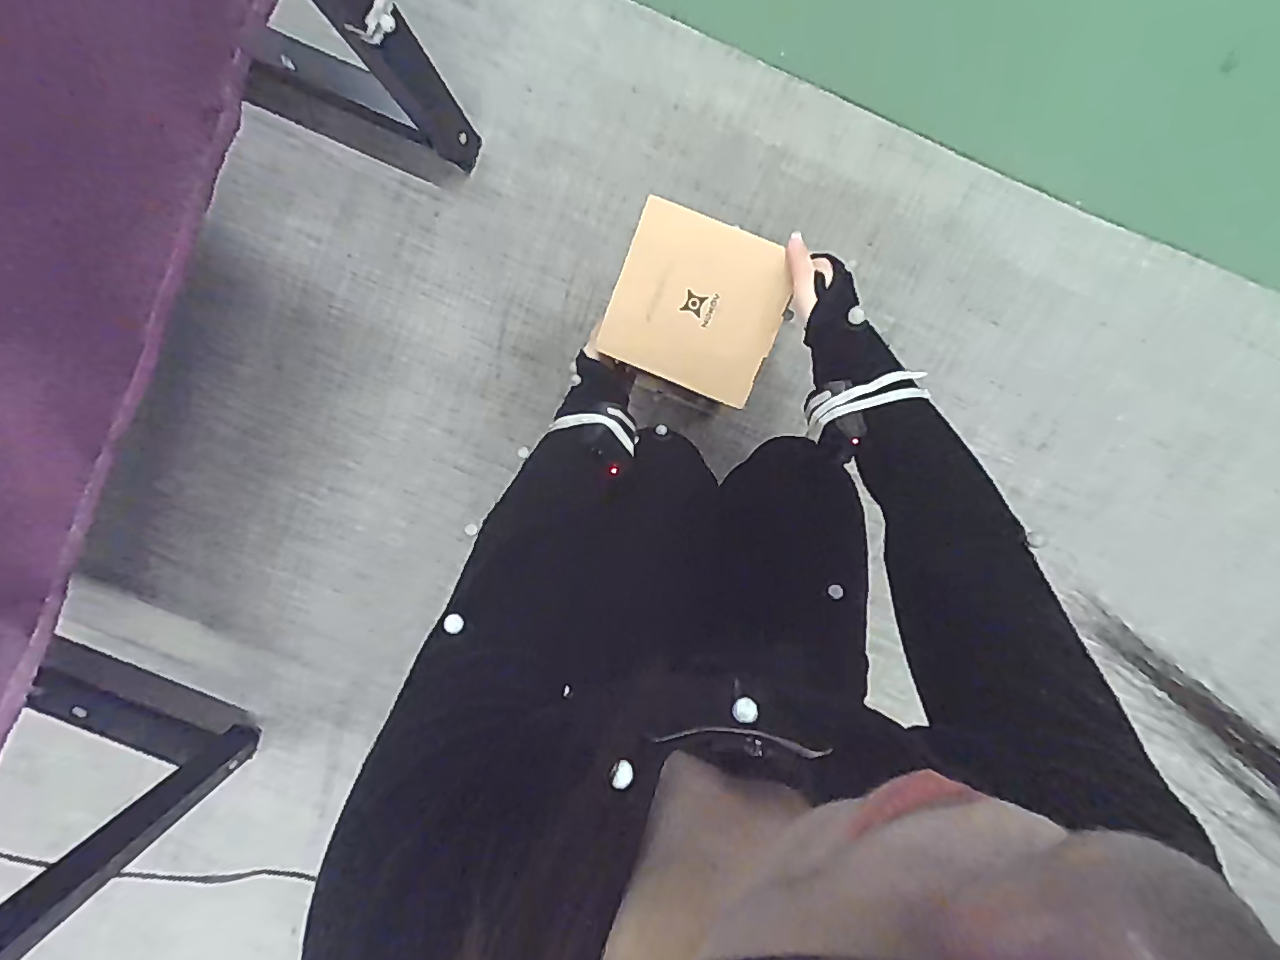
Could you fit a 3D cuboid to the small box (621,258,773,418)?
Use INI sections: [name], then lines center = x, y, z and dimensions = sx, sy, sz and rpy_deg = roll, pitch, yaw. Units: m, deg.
[small box]
center = 0.081, -0.209, 0.834
dimensions = 0.168, 0.176, 0.179
rpy_deg = 21, 98, -2
